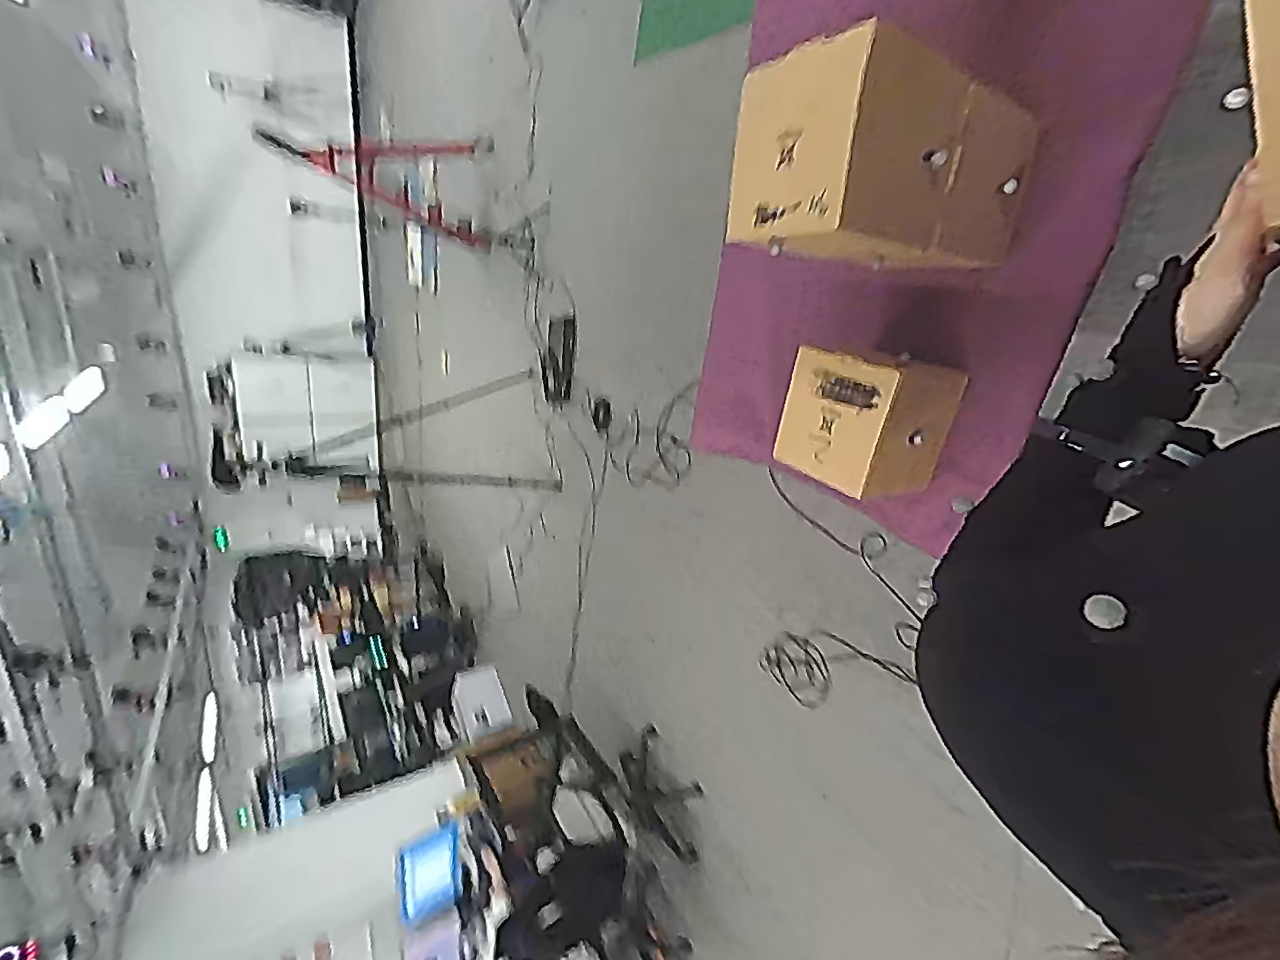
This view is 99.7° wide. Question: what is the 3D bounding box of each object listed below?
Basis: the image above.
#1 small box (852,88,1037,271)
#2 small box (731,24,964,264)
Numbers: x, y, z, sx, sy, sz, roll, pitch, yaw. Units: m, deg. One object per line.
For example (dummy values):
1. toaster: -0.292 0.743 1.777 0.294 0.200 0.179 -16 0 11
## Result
1. small box: 0.364 -0.368 0.701 0.179 0.176 0.168 28 118 52
2. small box: 0.229 -0.352 0.608 0.168 0.176 0.179 28 117 54
